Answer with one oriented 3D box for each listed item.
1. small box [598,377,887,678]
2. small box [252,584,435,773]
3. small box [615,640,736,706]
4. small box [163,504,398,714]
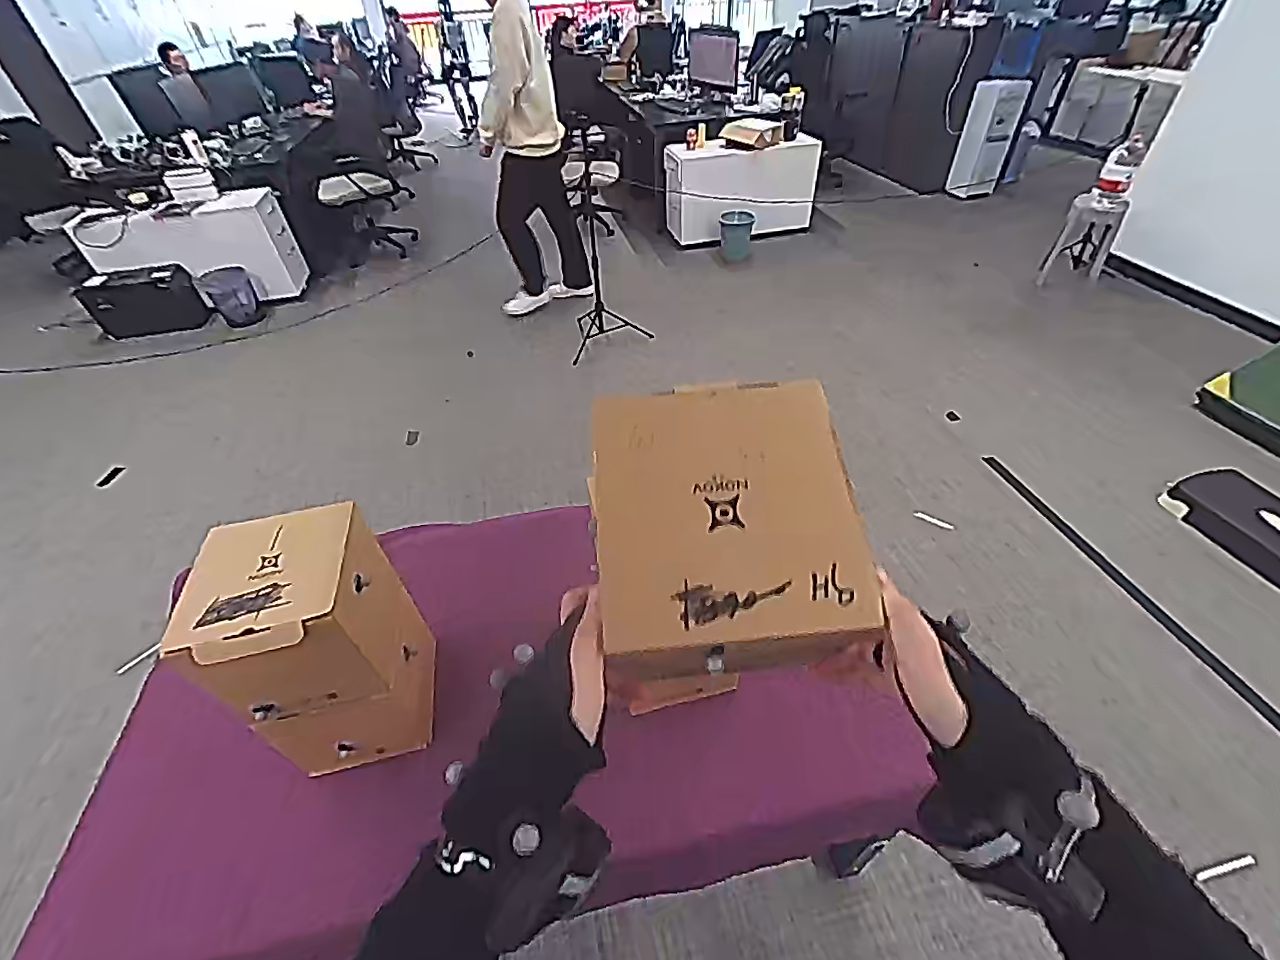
[{"bbox_3d":[0.057,0.045,0.417,0.168,0.176,0.179,-5,63,0],"label":"small box"},{"bbox_3d":[-0.399,0.280,0.767,0.168,0.176,0.179,-11,45,-8],"label":"small box"},{"bbox_3d":[0.044,0.214,0.806,0.168,0.176,0.179,-10,43,-8],"label":"small box"},{"bbox_3d":[-0.407,0.160,0.655,0.168,0.176,0.179,-12,44,-10],"label":"small box"}]
